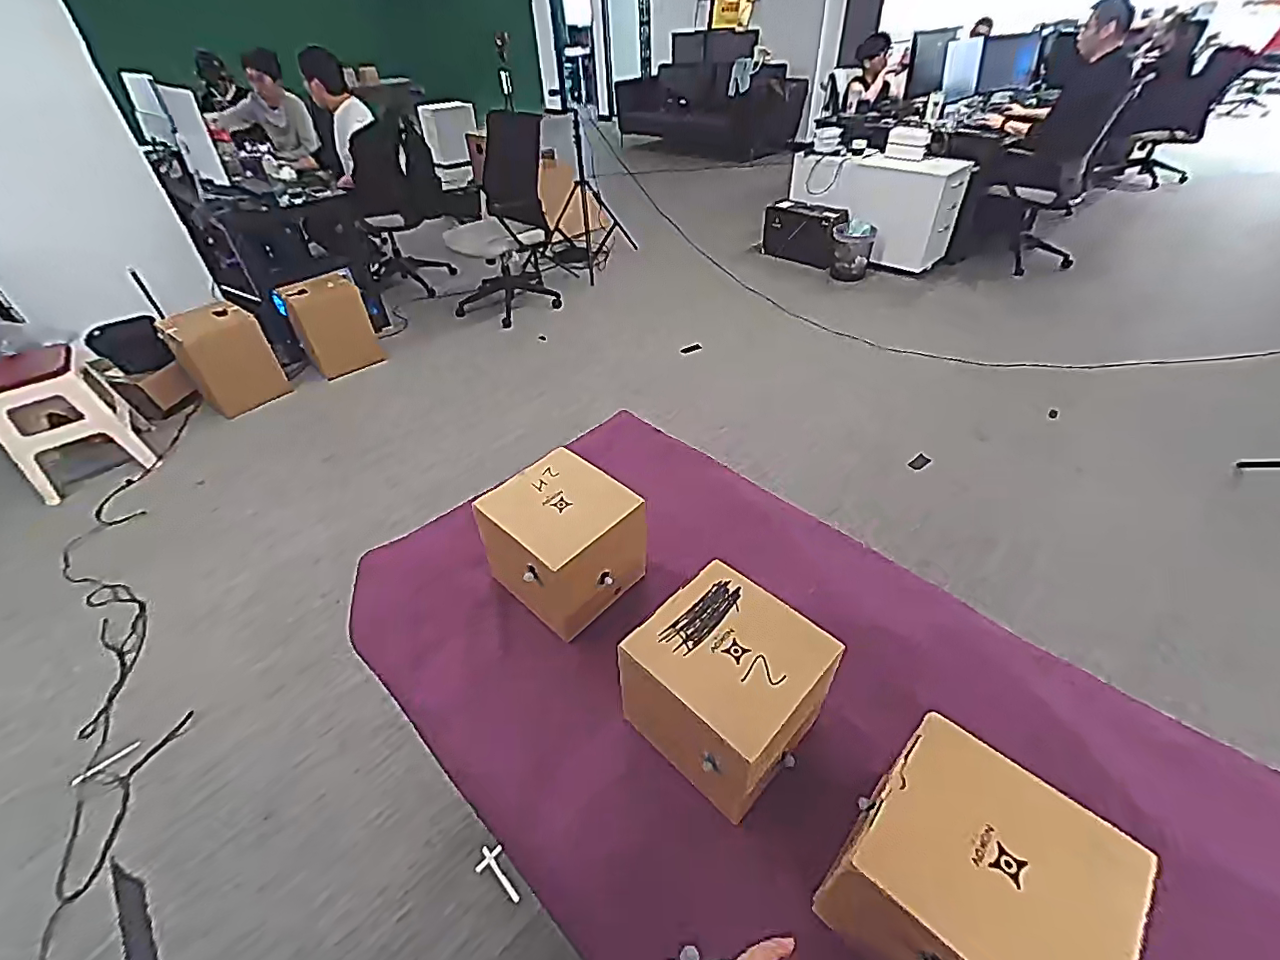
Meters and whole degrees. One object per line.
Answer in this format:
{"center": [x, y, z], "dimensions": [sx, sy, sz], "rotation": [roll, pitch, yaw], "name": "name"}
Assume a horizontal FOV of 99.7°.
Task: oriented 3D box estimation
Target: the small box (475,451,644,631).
{"center": [-0.109, 0.093, 0.793], "dimensions": [0.179, 0.176, 0.168], "rotation": [32, 51, 30], "name": "small box"}

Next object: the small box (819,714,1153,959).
{"center": [0.285, 0.356, 0.476], "dimensions": [0.179, 0.176, 0.168], "rotation": [30, 51, 33], "name": "small box"}
